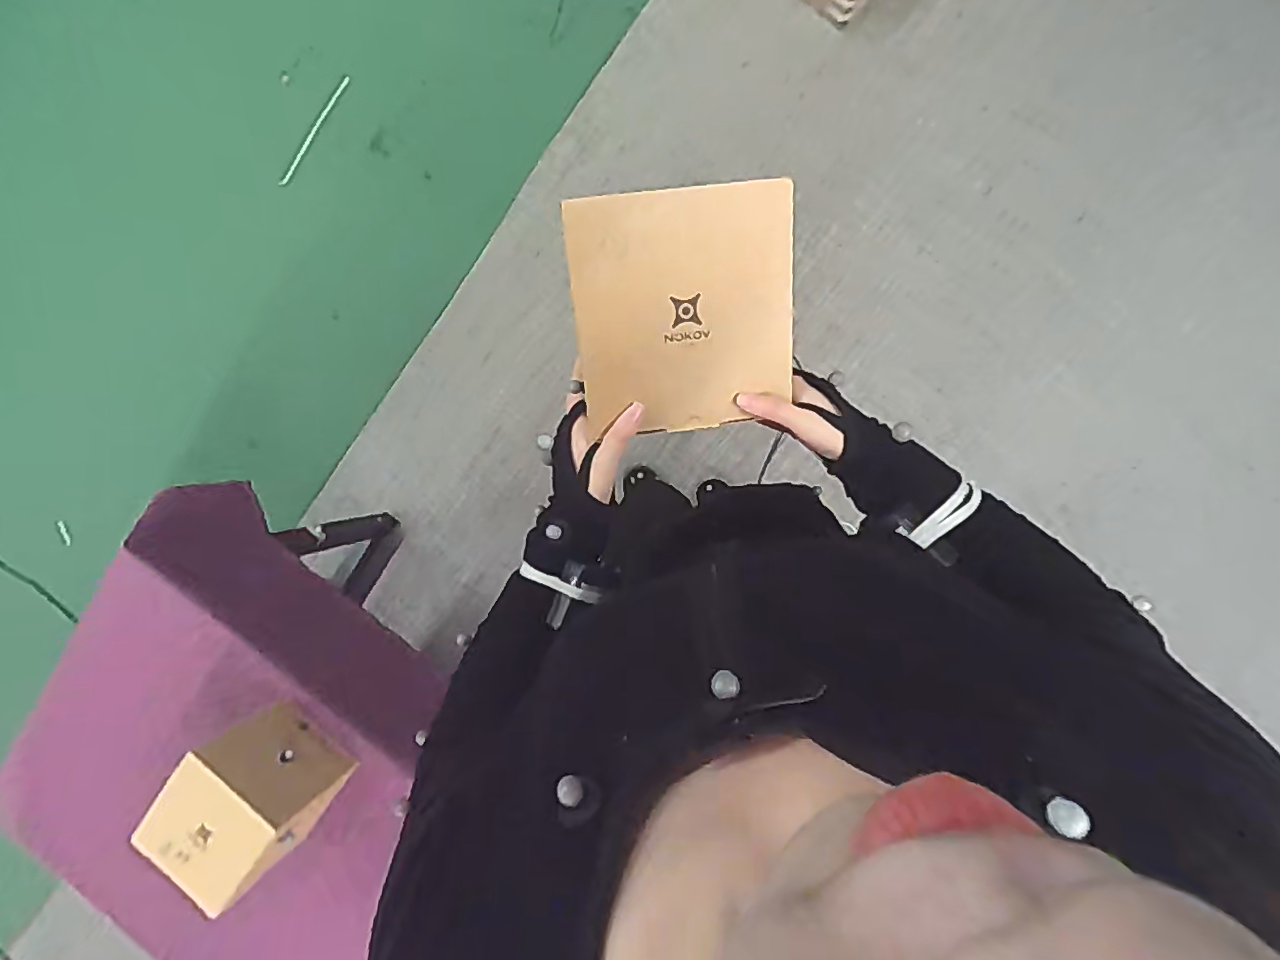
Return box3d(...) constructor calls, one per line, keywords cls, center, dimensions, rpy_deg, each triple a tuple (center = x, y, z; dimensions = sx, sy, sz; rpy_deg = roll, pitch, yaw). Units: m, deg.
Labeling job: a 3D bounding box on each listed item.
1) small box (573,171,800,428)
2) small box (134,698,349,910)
box3d(cls="small box", center=(0.030, -0.159, 0.481), dimensions=(0.168, 0.176, 0.179), rpy_deg=(-6, 113, -3))
box3d(cls="small box", center=(-0.580, 0.470, 0.815), dimensions=(0.168, 0.176, 0.179), rpy_deg=(38, 98, 5))
